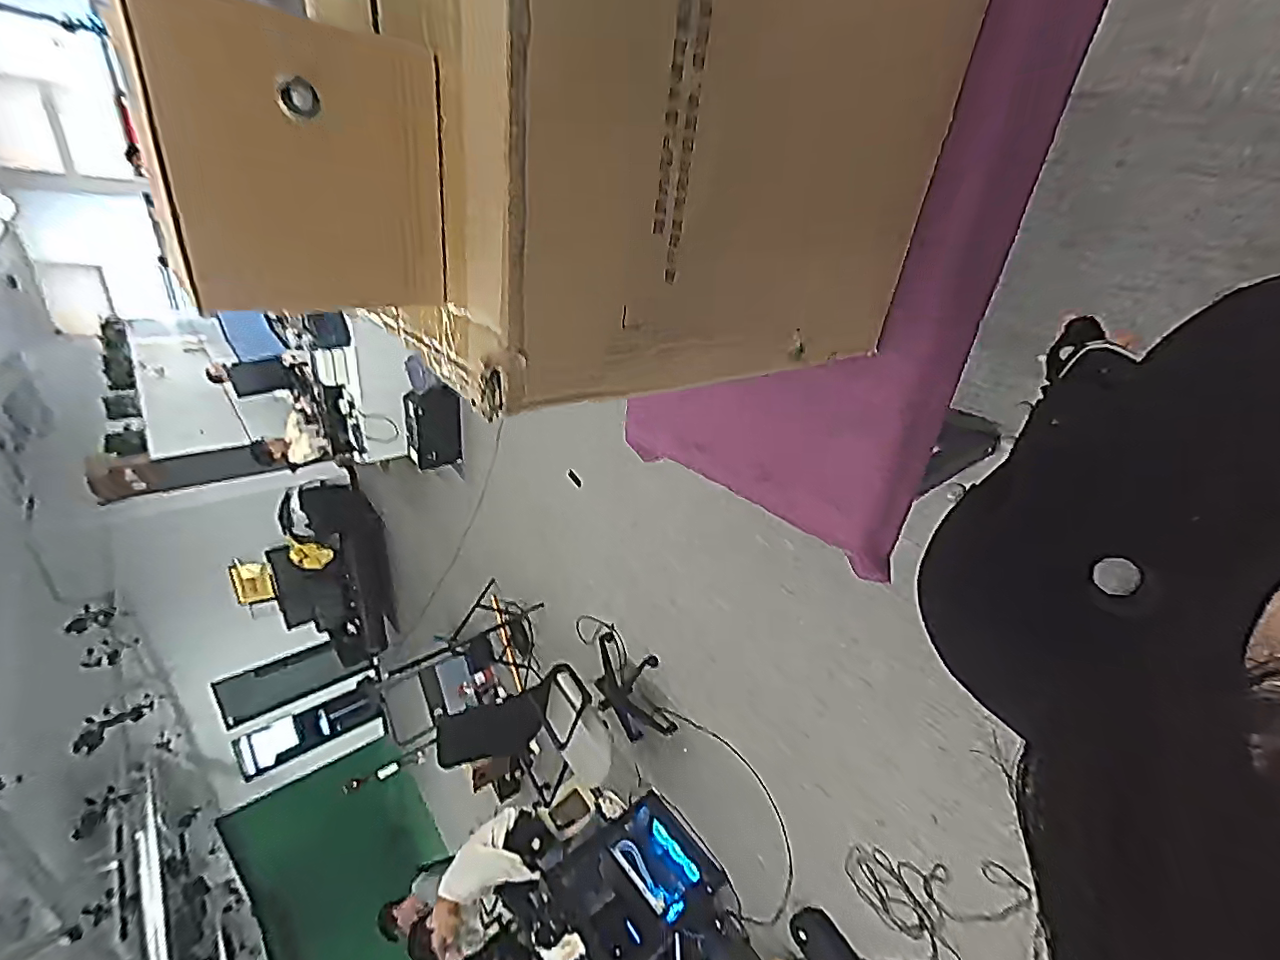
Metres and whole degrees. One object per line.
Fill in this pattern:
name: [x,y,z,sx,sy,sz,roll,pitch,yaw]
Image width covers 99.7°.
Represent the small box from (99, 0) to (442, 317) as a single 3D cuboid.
small box: [-0.265,-0.232,0.409,0.168,0.176,0.179,33,127,41]
